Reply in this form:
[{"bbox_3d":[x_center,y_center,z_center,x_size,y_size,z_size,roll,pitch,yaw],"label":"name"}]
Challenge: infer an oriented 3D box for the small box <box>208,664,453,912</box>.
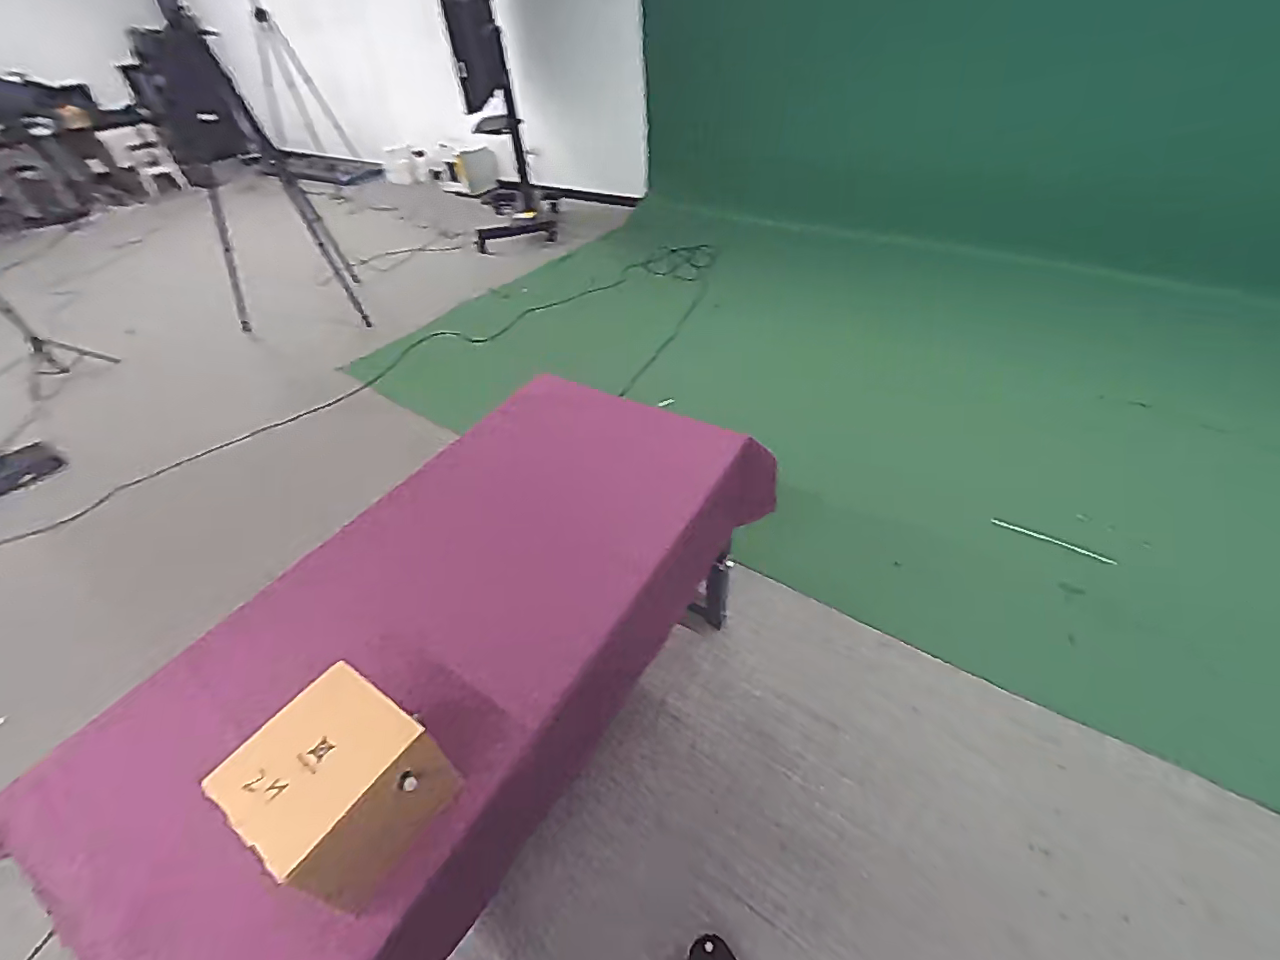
[{"bbox_3d":[-0.353,0.369,0.656,0.168,0.176,0.179,21,49,28],"label":"small box"}]
